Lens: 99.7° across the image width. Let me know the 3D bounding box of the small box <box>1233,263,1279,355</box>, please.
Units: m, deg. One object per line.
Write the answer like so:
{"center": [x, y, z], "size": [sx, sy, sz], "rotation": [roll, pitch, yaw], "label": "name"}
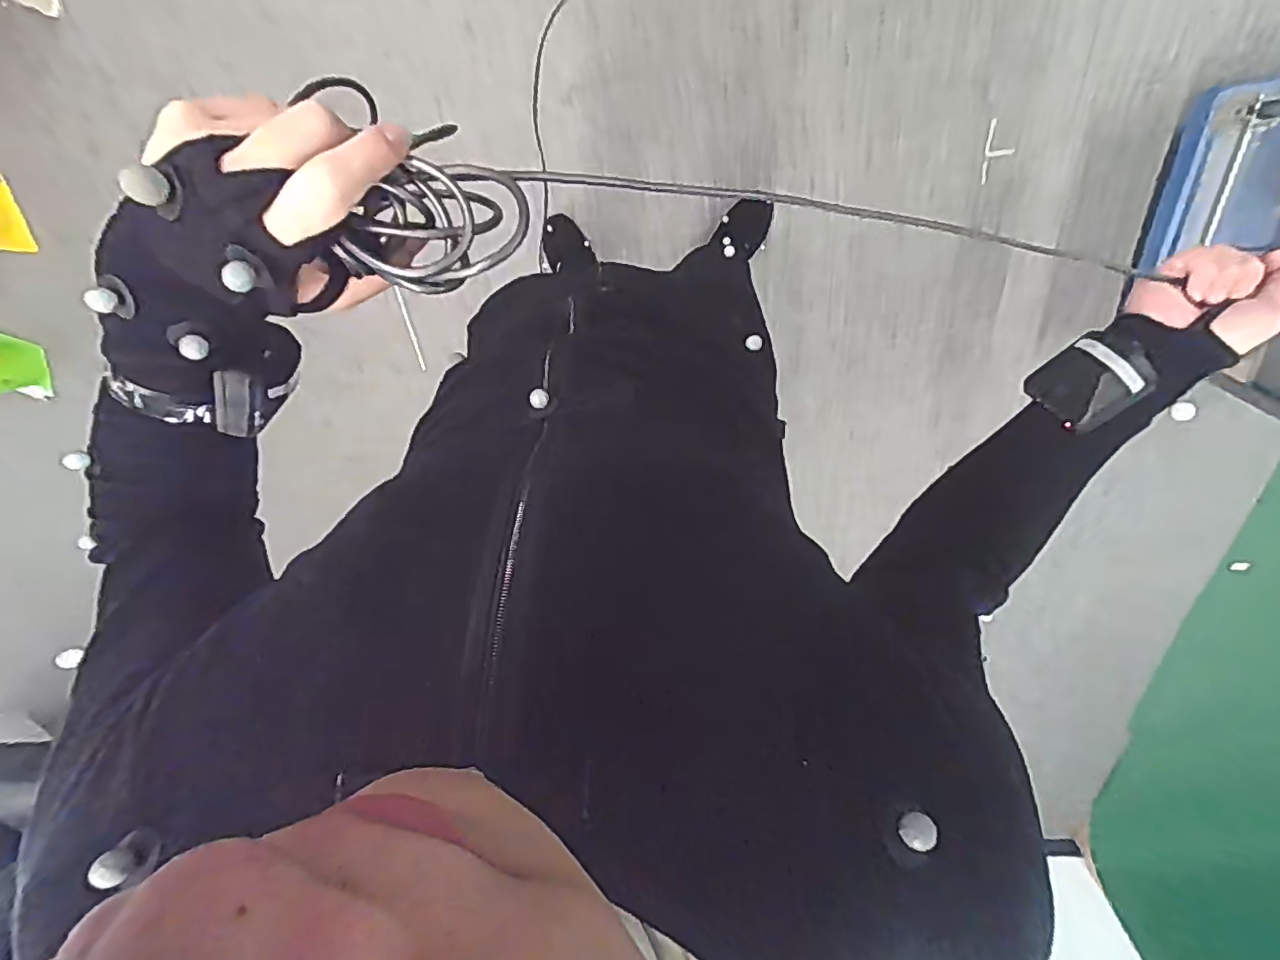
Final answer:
{"center": [1.450, -0.365, 1.142], "size": [0.179, 0.176, 0.168], "rotation": [-3, 122, 8], "label": "small box"}
